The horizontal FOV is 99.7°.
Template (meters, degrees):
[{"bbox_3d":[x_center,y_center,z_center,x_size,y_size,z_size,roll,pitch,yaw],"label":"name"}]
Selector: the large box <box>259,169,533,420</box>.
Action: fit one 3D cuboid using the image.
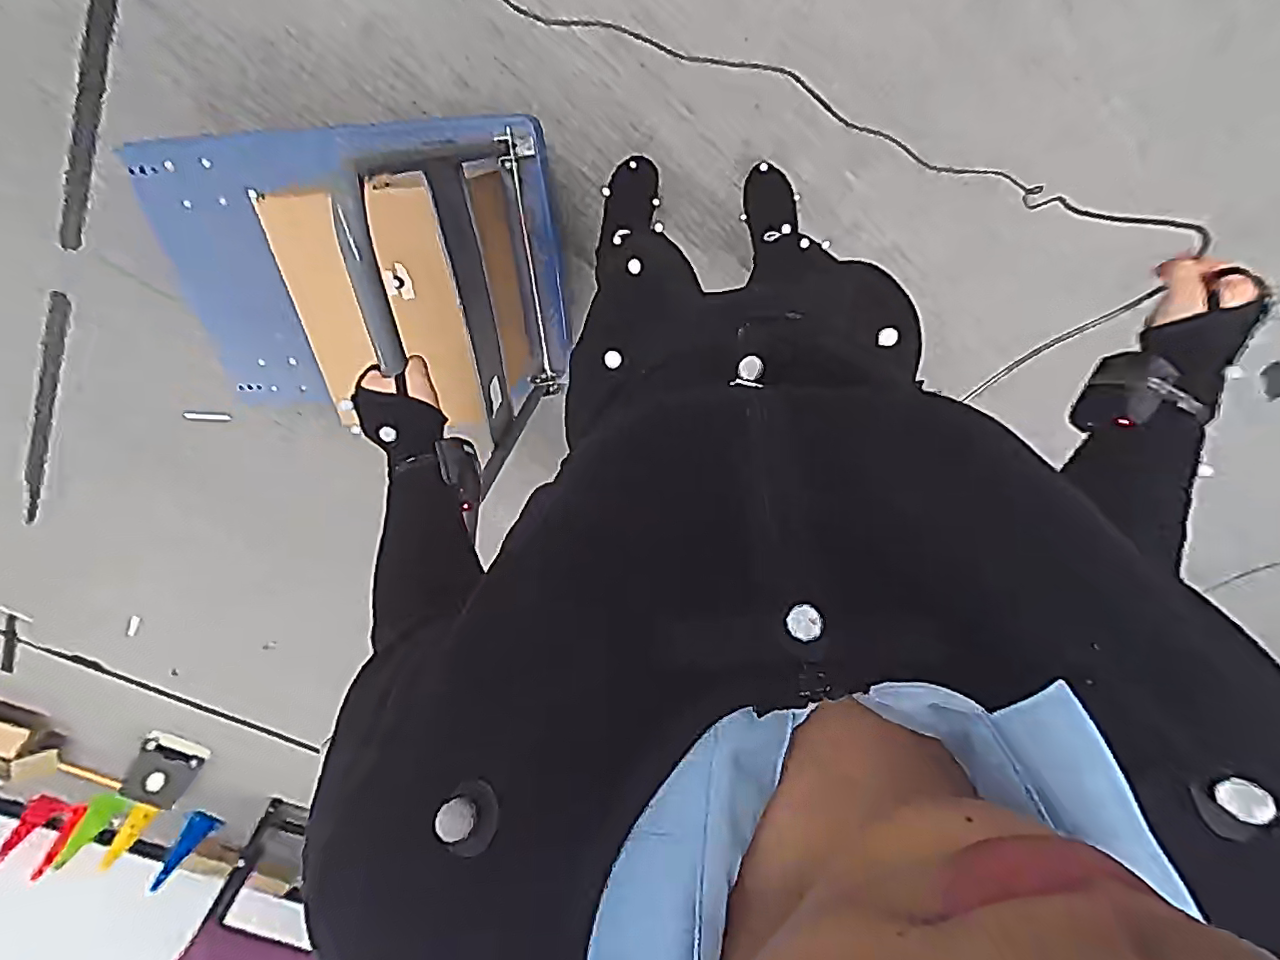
[{"bbox_3d":[-0.424,-0.367,1.065,0.320,0.320,0.408,-1,123,4],"label":"large box"}]
